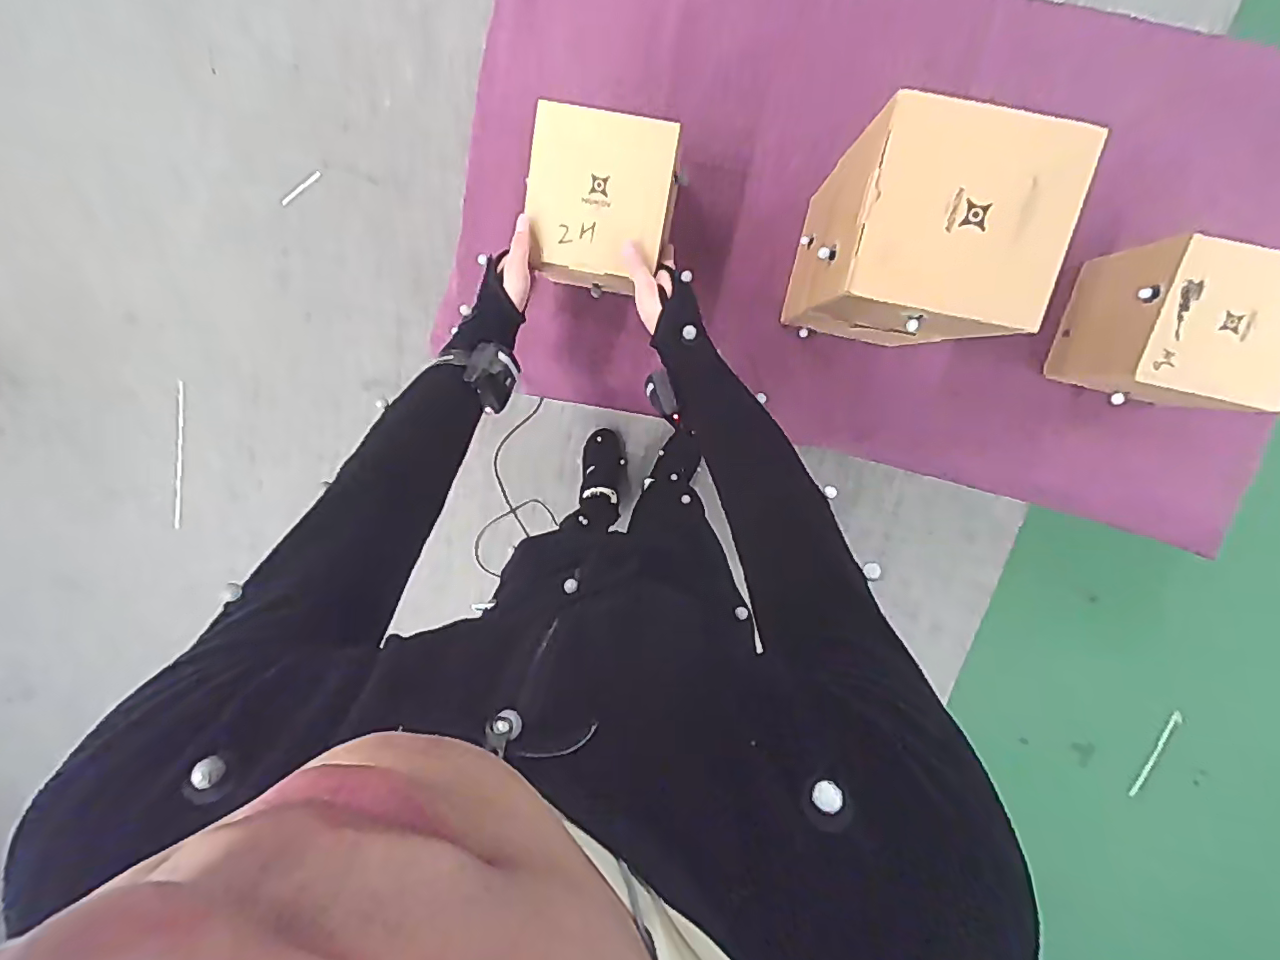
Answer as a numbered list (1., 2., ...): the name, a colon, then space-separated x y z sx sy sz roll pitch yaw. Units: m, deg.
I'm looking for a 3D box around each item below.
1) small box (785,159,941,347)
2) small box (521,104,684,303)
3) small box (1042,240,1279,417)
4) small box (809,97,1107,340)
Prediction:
1. small box: 0.297 -0.274 0.696 0.168 0.176 0.179 12 101 0
2. small box: -0.043 -0.341 0.701 0.168 0.176 0.179 11 103 1
3. small box: 0.678 -0.186 0.692 0.179 0.176 0.168 13 102 1
4. small box: 0.287 -0.237 0.538 0.179 0.176 0.168 12 103 0
